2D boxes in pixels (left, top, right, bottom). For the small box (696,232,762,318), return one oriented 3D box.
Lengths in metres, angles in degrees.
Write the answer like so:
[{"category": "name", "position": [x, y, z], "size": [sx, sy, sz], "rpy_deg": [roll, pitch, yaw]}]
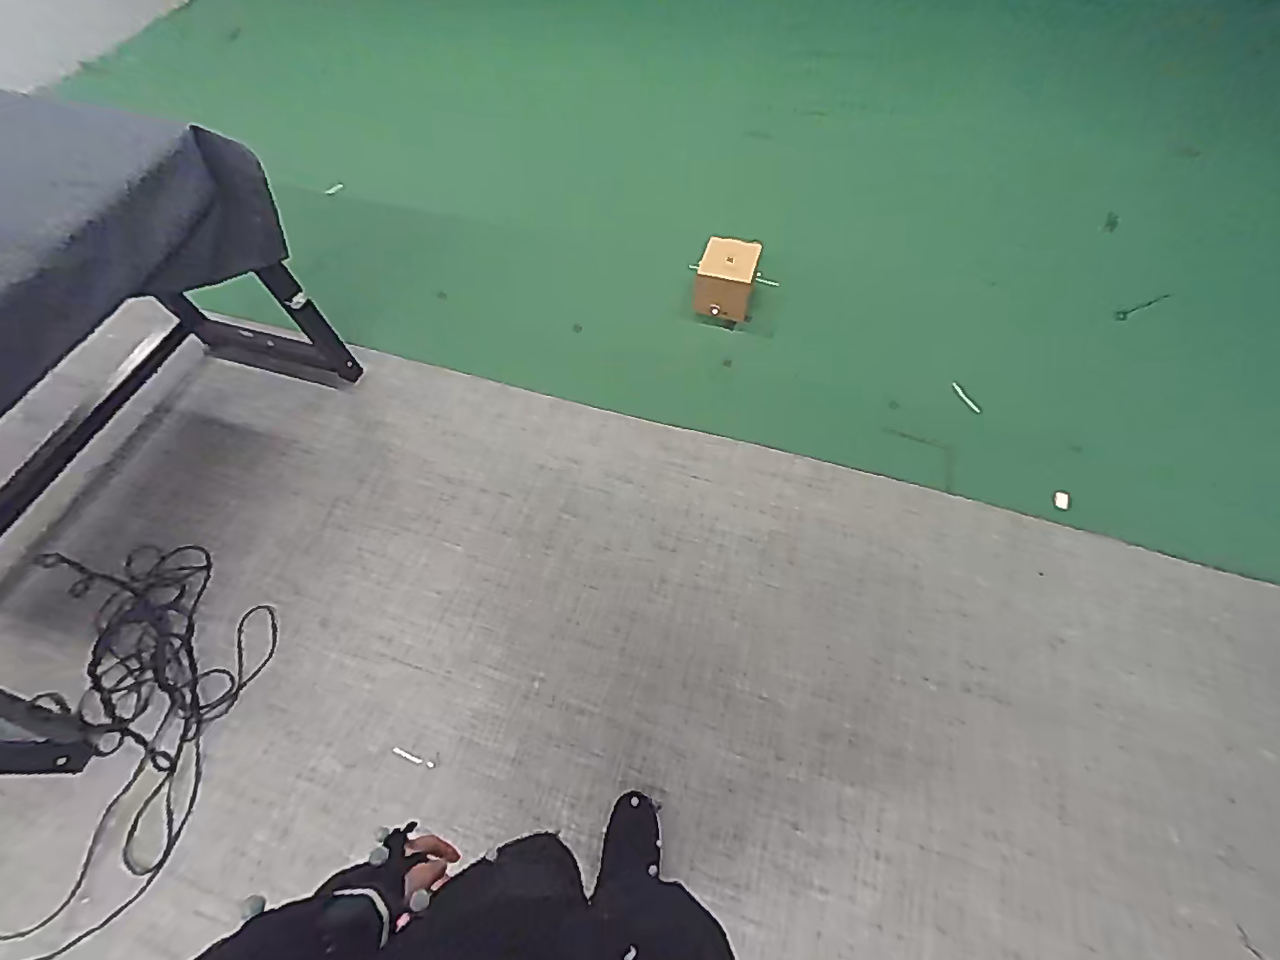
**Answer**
[{"category": "small box", "position": [0.279, -0.648, 1.718], "size": [0.168, 0.176, 0.179], "rpy_deg": [14, 65, 10]}]
